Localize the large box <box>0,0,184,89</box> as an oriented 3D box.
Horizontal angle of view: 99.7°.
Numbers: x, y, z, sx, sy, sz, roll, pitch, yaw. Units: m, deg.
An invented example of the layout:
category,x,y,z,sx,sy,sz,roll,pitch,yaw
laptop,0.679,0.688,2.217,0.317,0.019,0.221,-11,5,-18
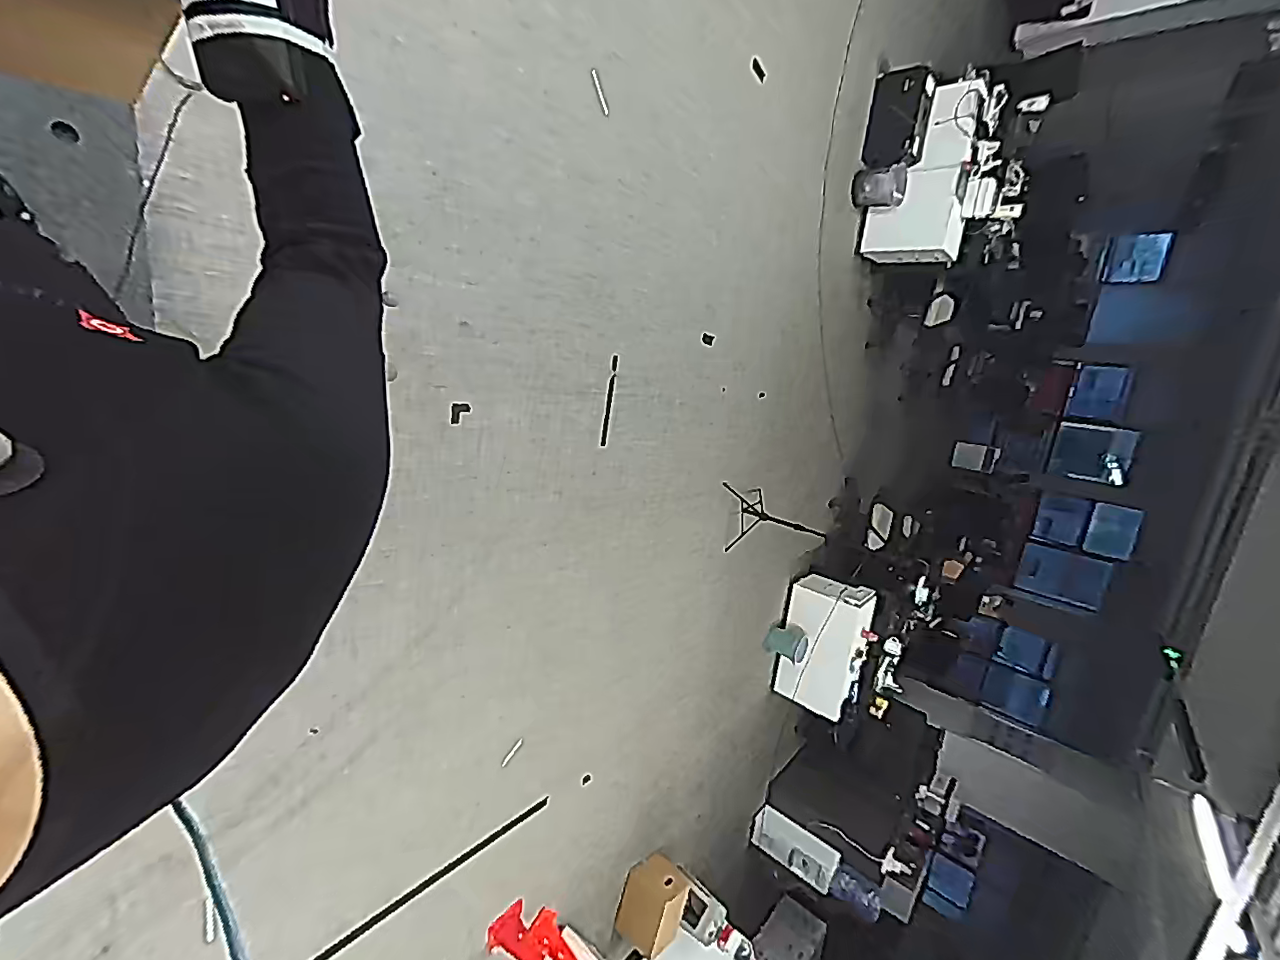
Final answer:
category,x,y,z,sx,sy,sz,roll,pitch,yaw
large box,-0.495,-0.453,0.237,0.408,0.320,0.320,-17,110,-48
